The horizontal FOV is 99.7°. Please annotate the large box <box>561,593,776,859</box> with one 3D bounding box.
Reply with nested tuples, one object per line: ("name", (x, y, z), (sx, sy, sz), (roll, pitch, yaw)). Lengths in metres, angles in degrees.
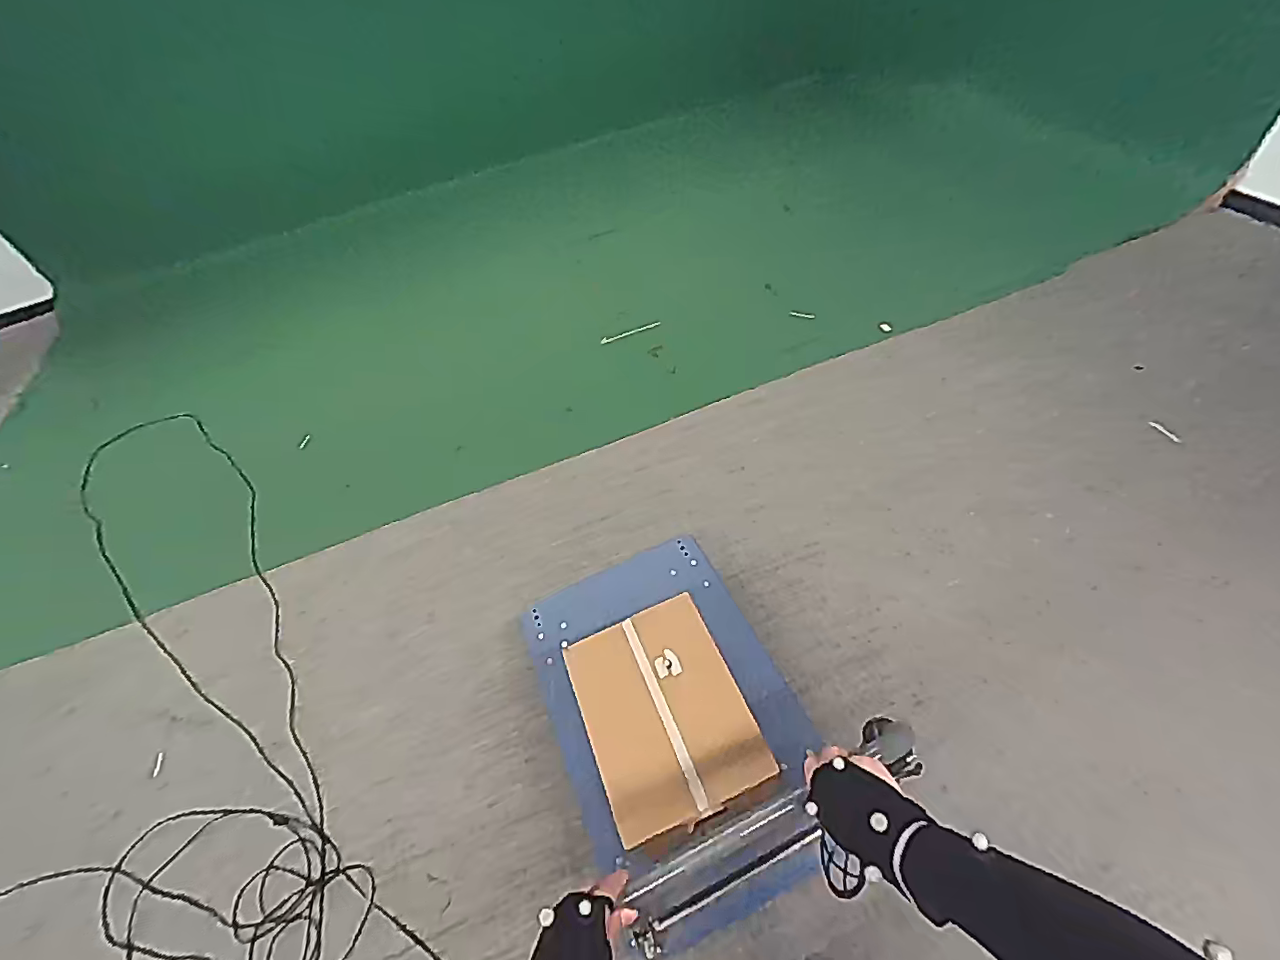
("large box", (0.064, 0.538, 1.196), (0.320, 0.320, 0.408), (-23, 51, -7))
